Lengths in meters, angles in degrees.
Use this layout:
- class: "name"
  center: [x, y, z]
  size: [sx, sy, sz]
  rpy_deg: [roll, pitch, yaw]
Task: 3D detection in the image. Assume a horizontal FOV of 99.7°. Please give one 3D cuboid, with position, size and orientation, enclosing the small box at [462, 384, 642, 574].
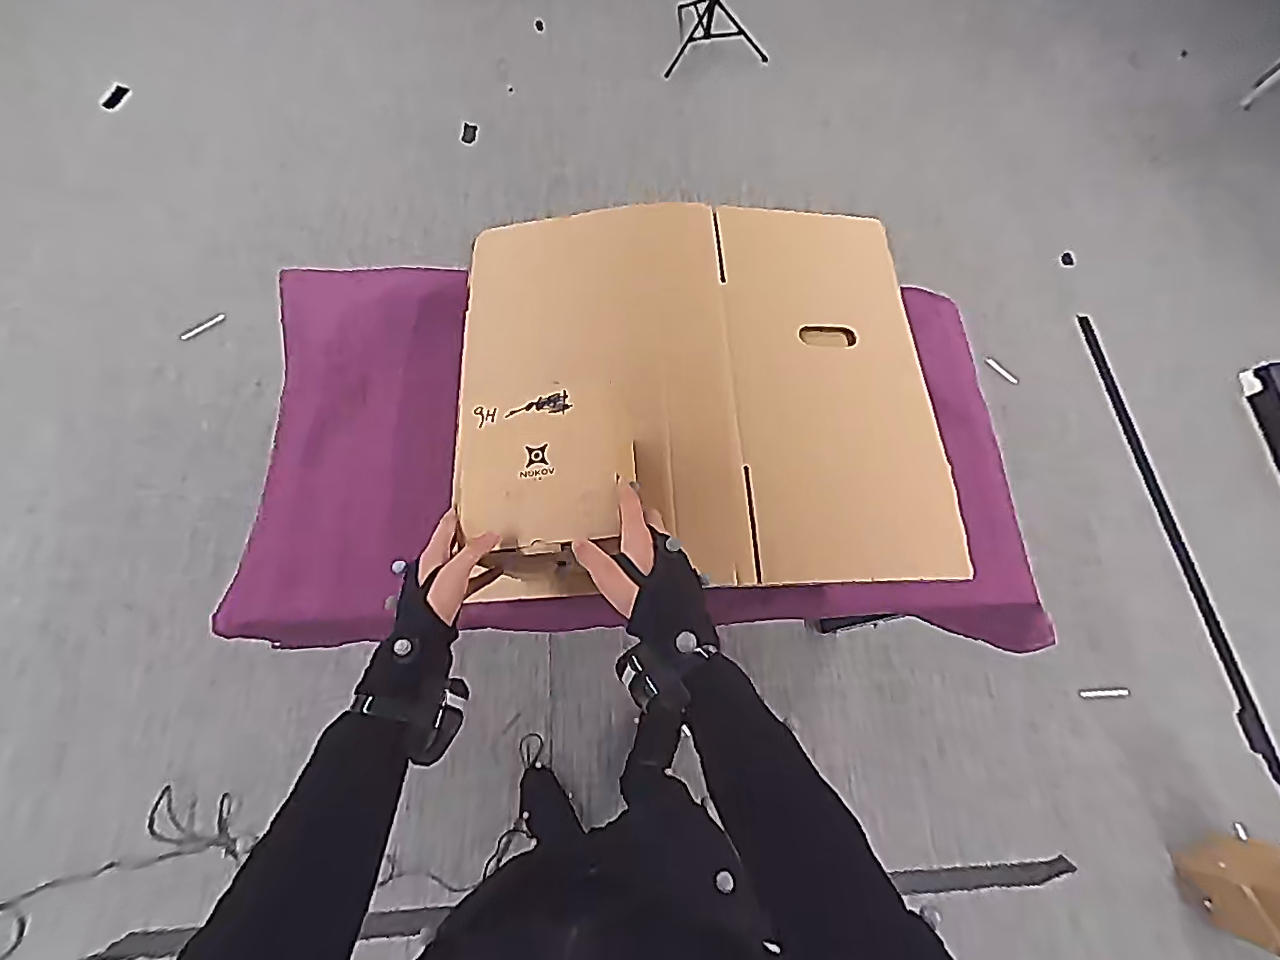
- class: "small box"
  center: [-0.092, 0.012, 0.630]
  size: [0.168, 0.176, 0.179]
  rpy_deg: [-6, 72, 6]
